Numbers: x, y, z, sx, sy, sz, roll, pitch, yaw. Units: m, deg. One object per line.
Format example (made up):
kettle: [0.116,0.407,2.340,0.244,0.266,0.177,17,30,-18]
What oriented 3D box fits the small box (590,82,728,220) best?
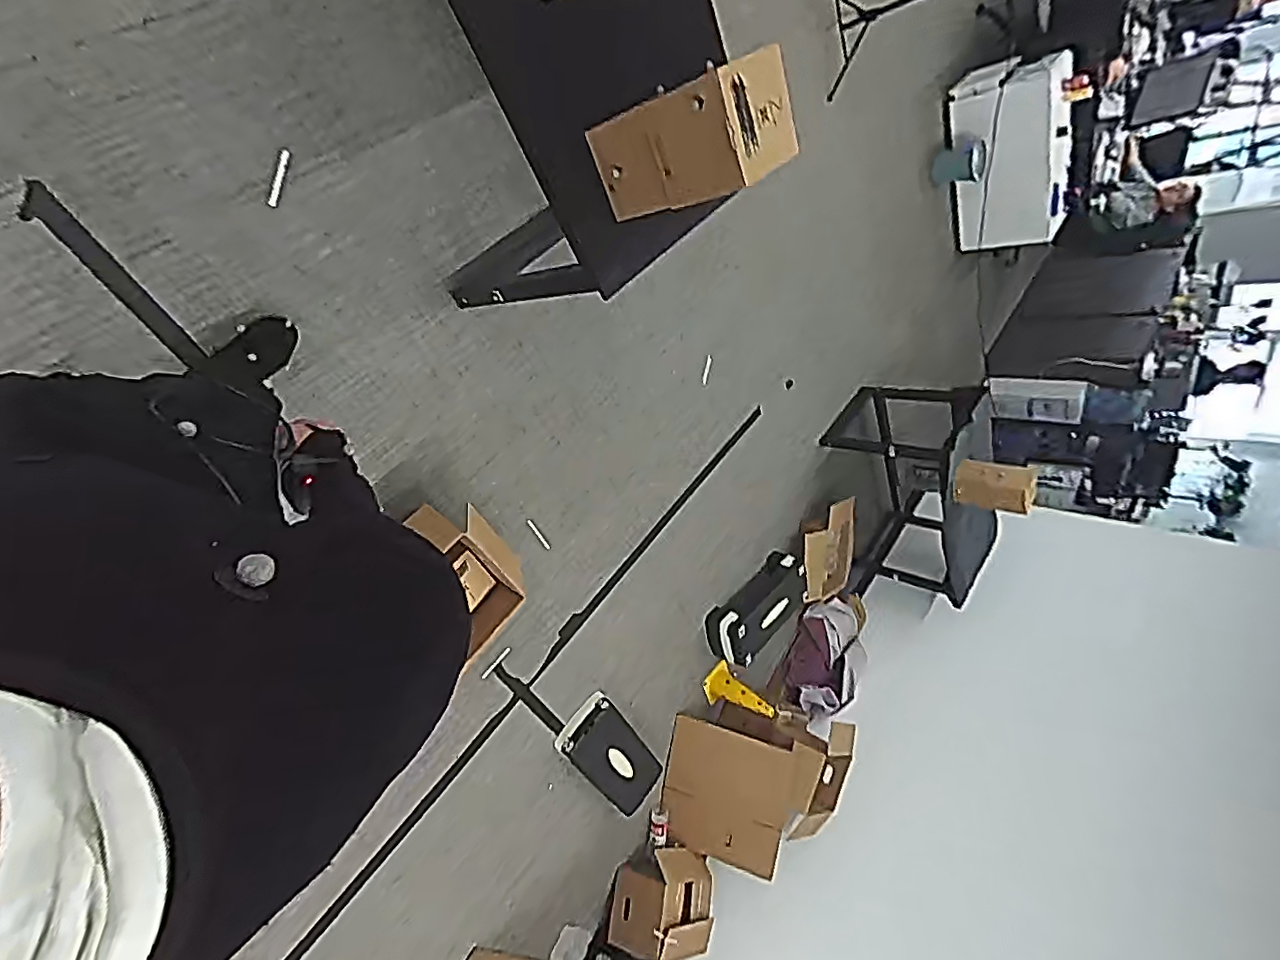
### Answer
small box: [0.037,-0.625,1.041,0.179,0.176,0.168,-43,125,-28]
